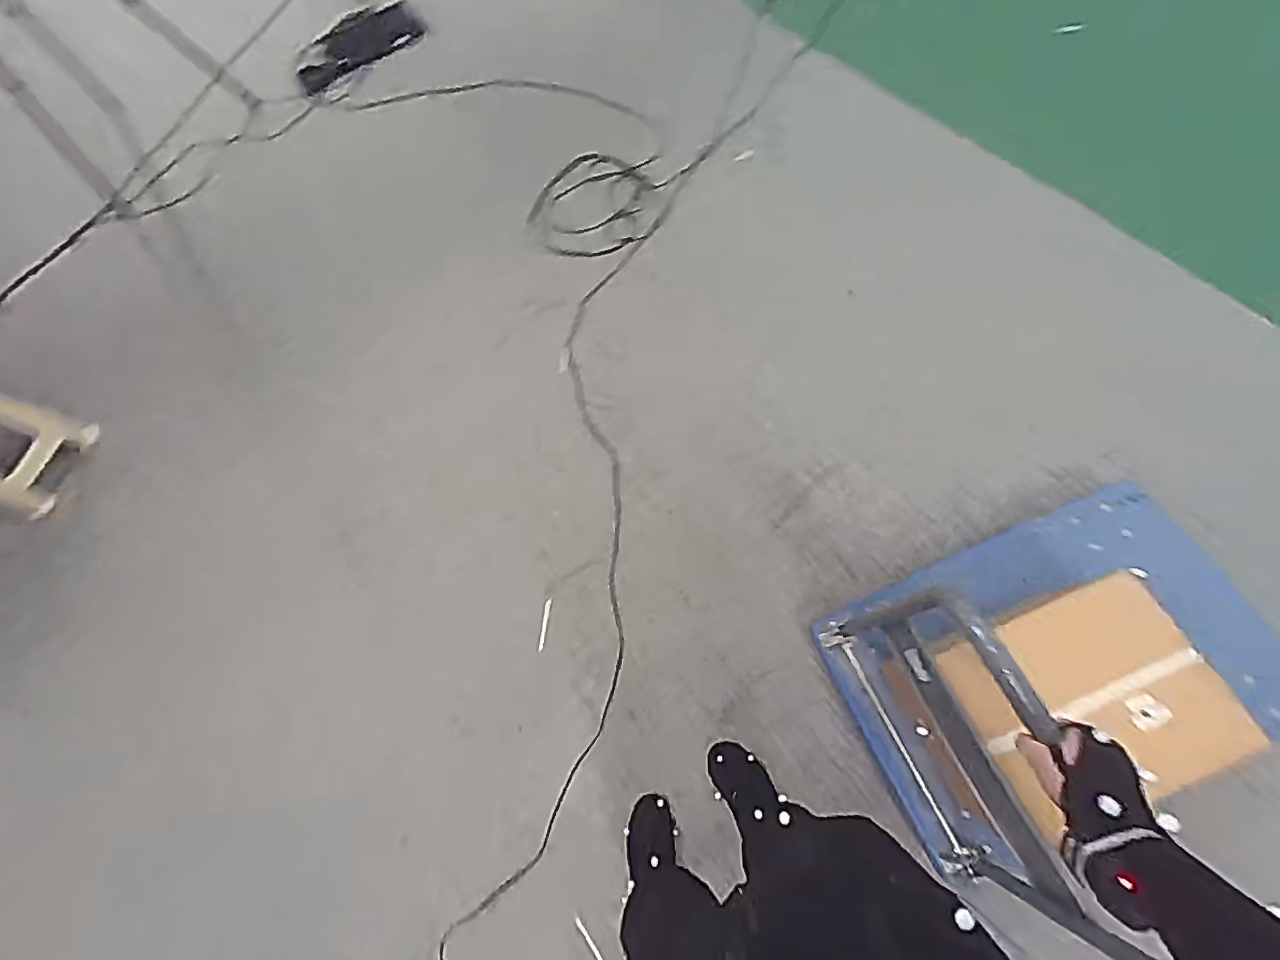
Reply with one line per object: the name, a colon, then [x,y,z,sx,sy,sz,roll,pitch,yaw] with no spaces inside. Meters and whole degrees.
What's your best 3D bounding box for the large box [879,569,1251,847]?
large box: [0.760,0.425,1.050,0.408,0.320,0.320,-24,68,-2]
